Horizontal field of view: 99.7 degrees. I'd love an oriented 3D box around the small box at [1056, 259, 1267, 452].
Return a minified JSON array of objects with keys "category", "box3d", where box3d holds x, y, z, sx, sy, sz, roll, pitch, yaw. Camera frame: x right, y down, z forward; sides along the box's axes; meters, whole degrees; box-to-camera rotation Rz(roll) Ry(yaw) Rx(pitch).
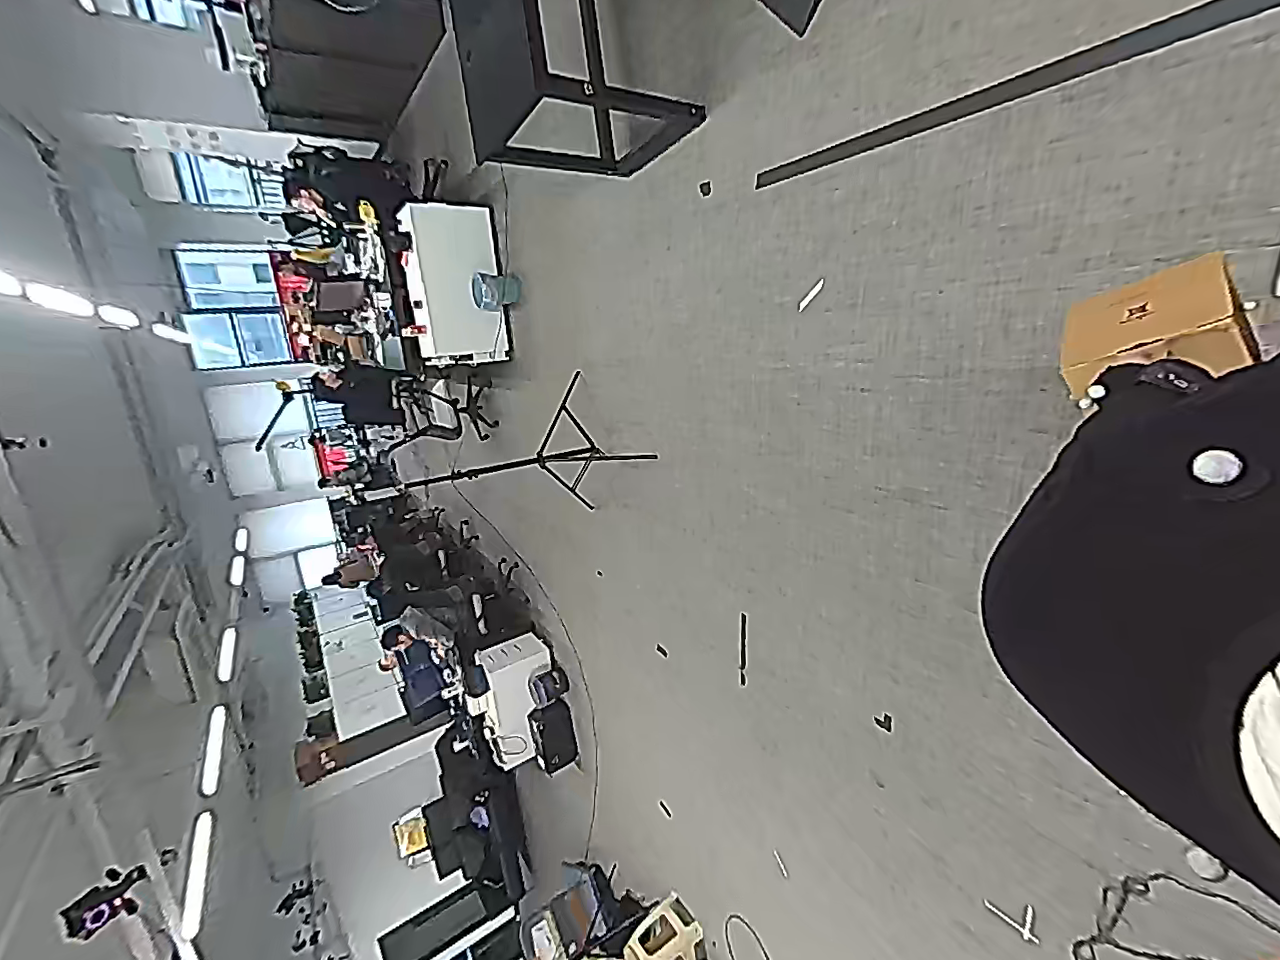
[{"category":"small box","box3d":[0.705,-0.156,0.738,0.176,0.179,0.168,50,145,-16]}]
